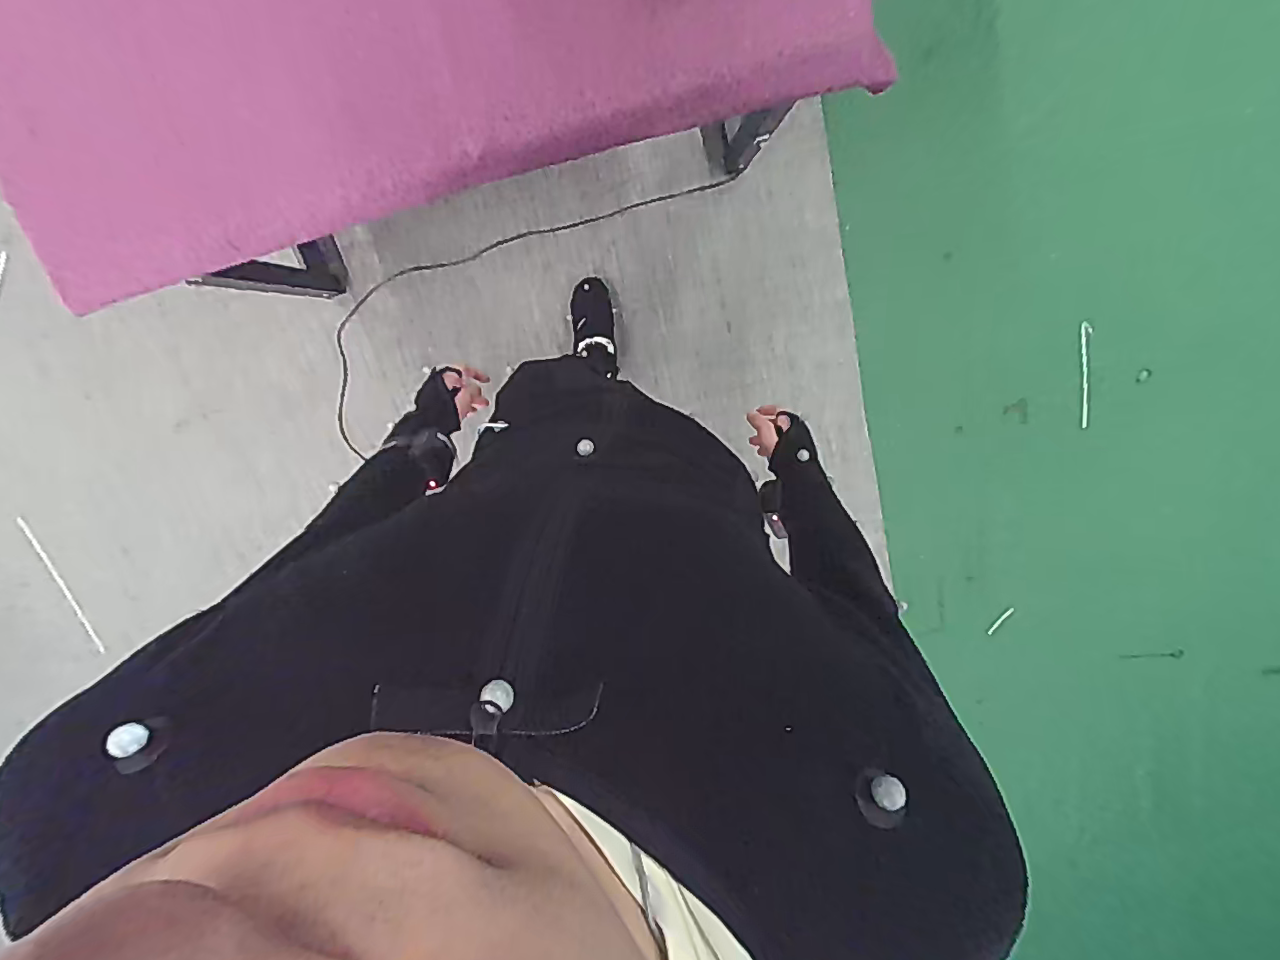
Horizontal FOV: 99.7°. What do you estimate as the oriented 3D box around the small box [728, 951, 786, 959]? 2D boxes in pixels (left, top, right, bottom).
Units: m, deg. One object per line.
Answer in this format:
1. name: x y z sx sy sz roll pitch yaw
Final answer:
1. small box: 0.308 1.313 1.323 0.168 0.176 0.179 -14 106 1
